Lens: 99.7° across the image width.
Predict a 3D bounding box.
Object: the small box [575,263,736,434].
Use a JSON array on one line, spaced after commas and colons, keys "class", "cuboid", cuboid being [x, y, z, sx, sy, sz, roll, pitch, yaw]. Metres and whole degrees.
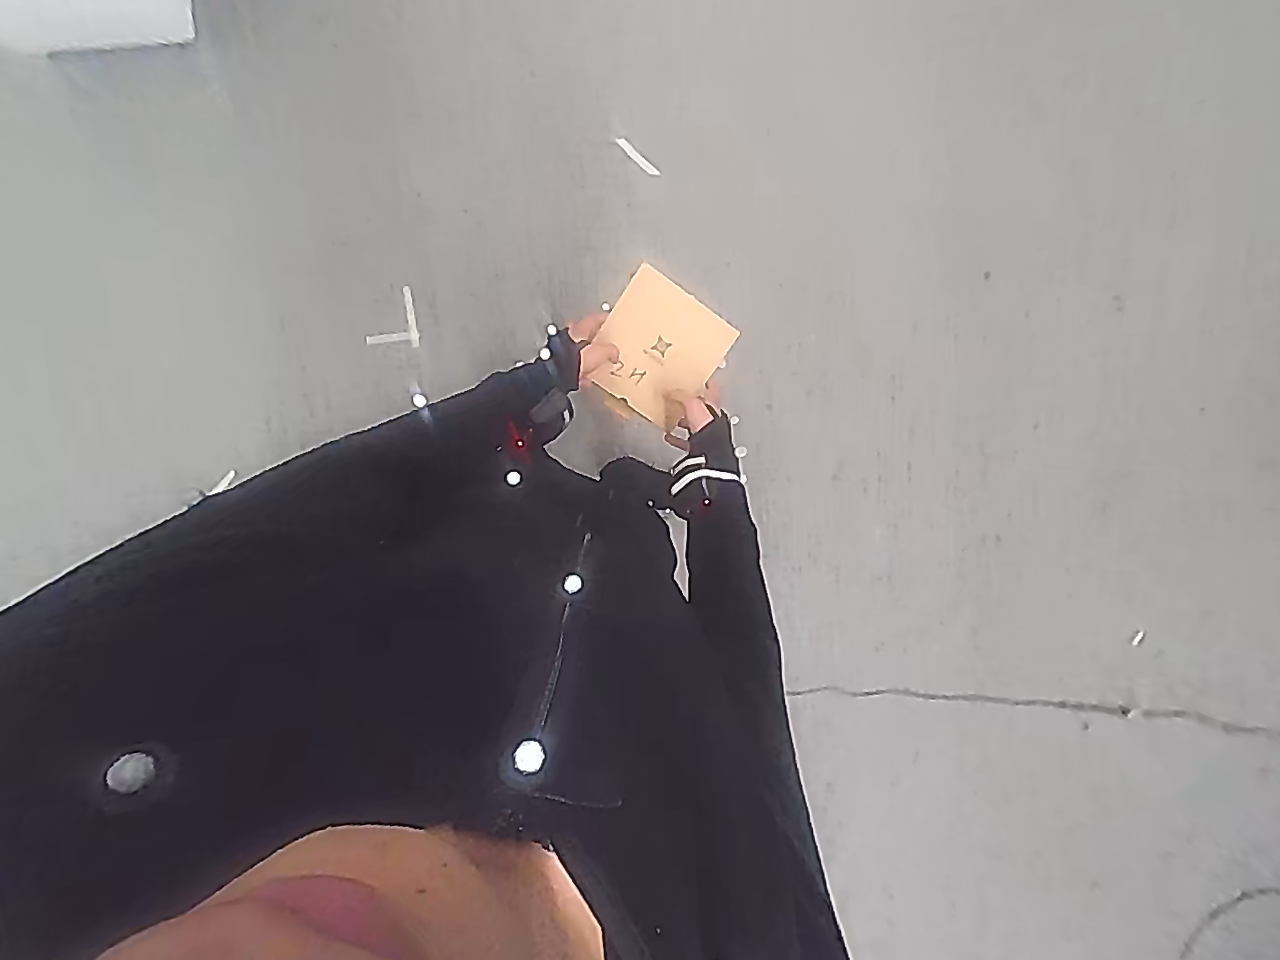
[{"class": "small box", "cuboid": [0.015, -0.196, 0.822, 0.168, 0.176, 0.179, 33, 99, -10]}]
